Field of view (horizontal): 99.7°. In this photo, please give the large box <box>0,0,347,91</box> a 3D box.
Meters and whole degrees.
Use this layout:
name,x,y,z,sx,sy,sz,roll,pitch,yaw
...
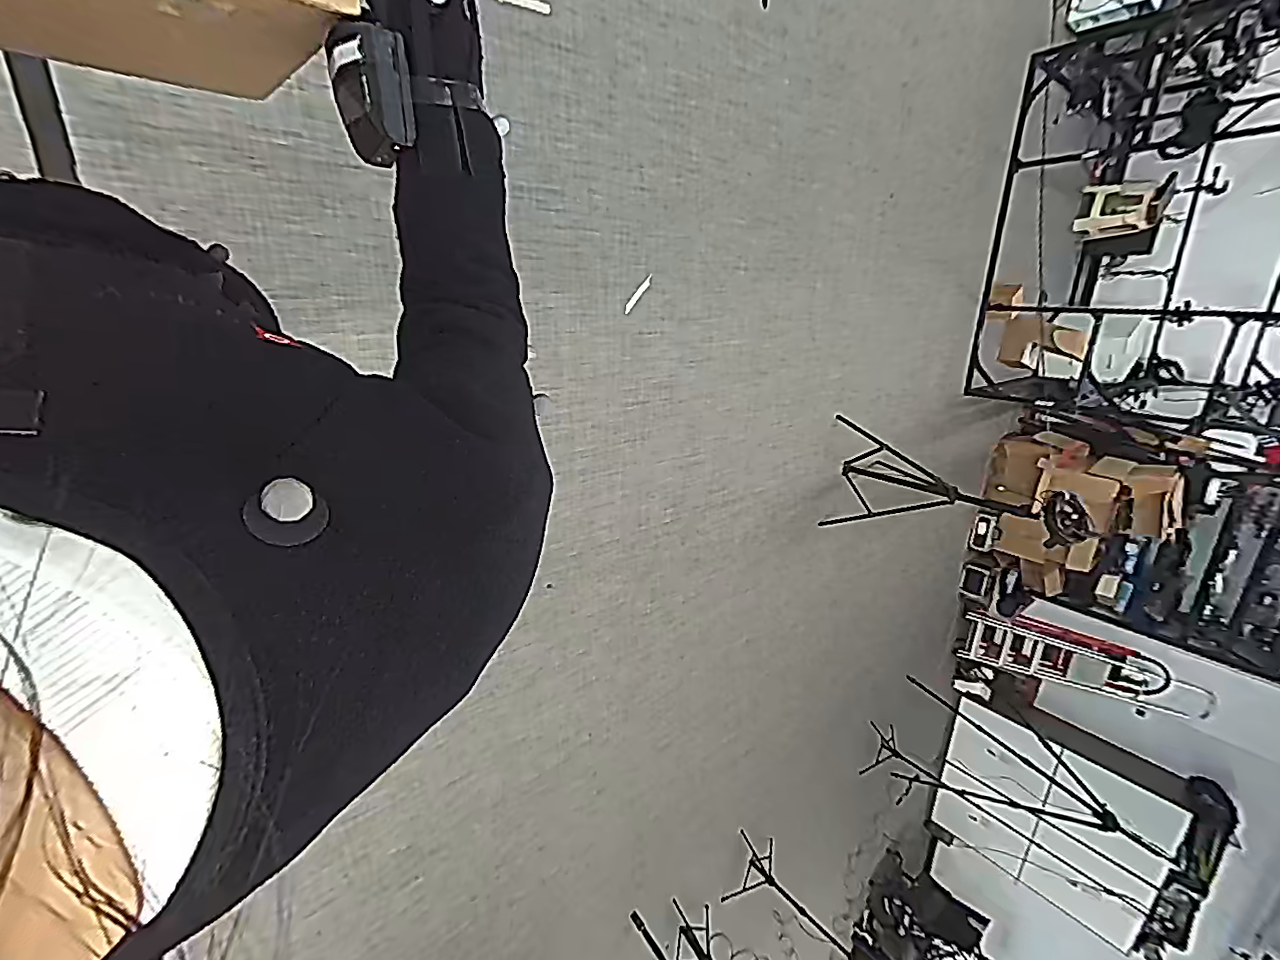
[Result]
name,x,y,z,sx,sy,sz,roll,pitch,yaw
large box,-0.408,-0.417,0.235,0.408,0.320,0.320,-16,120,-39
